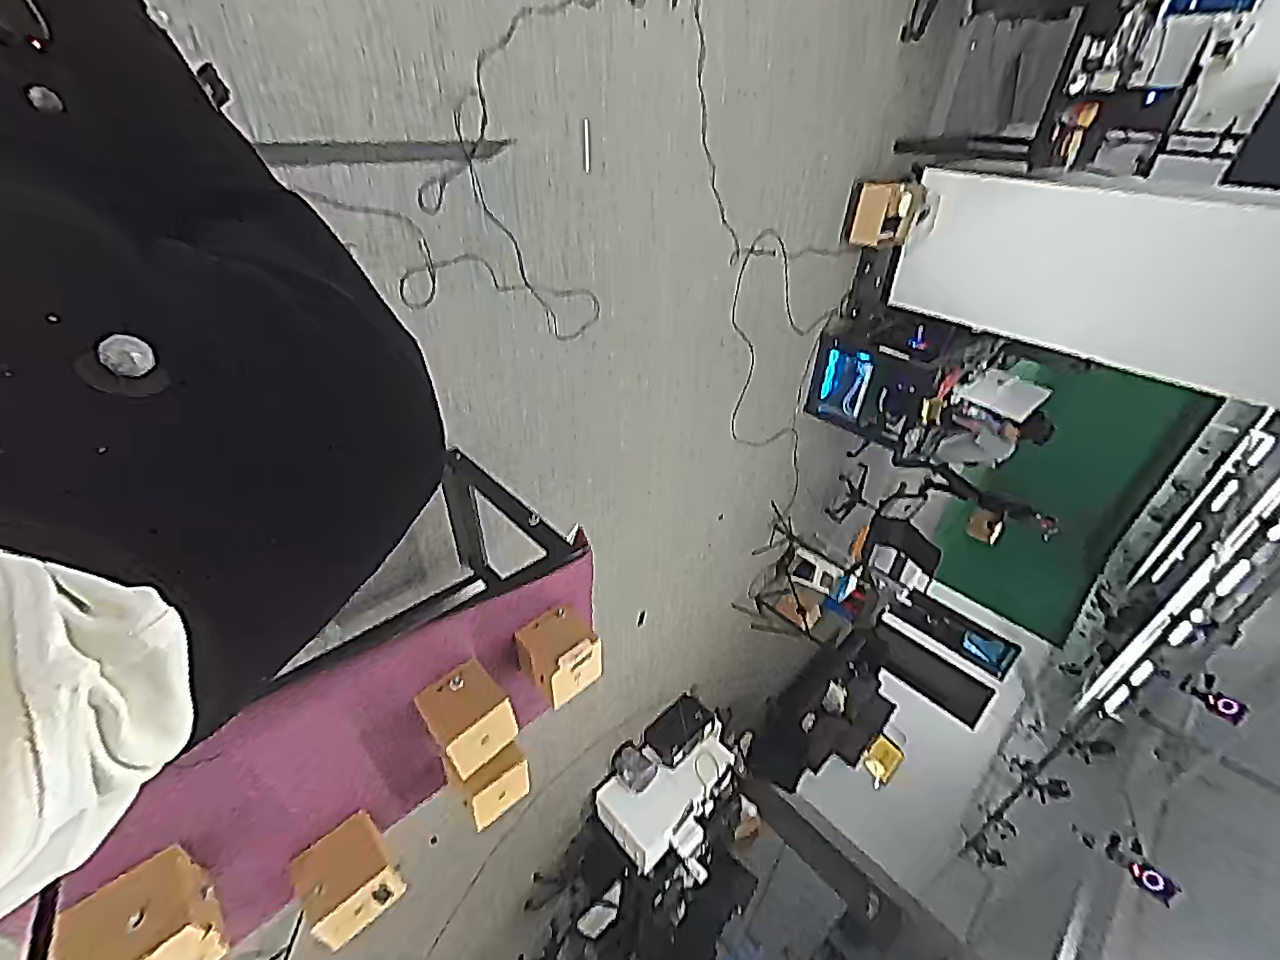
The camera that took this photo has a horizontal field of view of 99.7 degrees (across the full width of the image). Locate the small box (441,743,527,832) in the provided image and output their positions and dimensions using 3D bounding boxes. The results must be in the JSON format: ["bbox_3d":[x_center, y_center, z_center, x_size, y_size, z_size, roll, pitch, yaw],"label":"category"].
[{"bbox_3d":[-0.433,0.816,1.502,0.168,0.176,0.179,-25,133,-36],"label":"small box"}]

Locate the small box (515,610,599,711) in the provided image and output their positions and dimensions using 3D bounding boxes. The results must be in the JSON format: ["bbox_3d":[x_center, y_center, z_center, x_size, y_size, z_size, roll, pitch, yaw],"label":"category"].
[{"bbox_3d":[-0.229,0.485,1.489,0.168,0.176,0.179,-29,138,-33],"label":"small box"}]

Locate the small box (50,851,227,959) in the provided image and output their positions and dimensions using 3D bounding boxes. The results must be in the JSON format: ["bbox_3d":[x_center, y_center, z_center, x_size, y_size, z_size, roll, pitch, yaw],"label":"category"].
[{"bbox_3d":[-0.889,0.819,0.964,0.179,0.176,0.168,-28,135,-37],"label":"small box"}]

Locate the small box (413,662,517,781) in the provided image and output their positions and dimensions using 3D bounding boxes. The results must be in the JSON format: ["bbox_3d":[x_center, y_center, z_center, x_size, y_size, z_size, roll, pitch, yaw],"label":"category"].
[{"bbox_3d":[-0.431,0.588,1.334,0.168,0.176,0.179,-32,138,-32],"label":"small box"}]
